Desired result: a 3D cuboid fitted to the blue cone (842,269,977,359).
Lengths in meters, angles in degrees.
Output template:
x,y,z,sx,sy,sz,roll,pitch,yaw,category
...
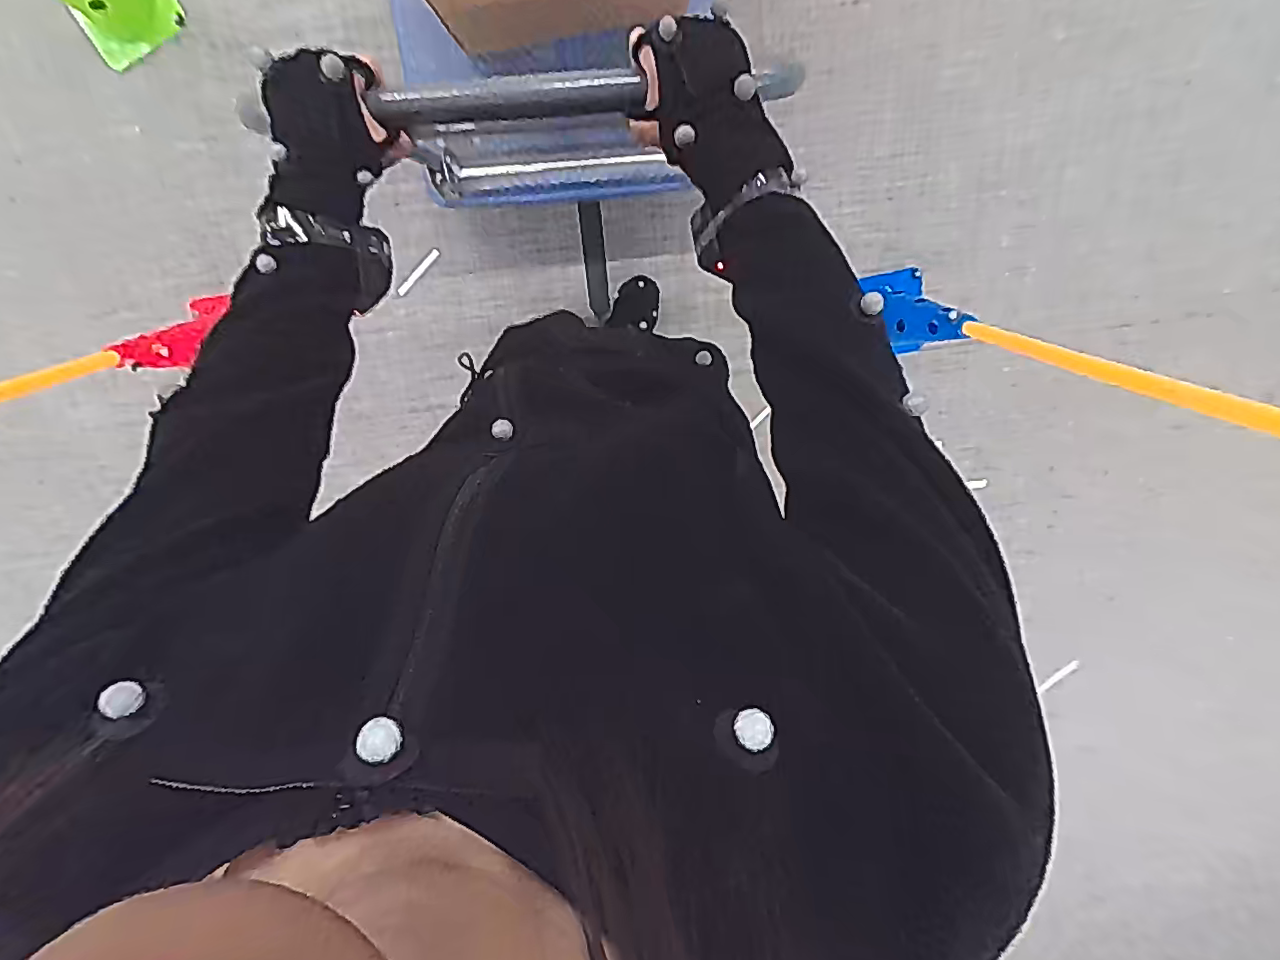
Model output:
x,y,z,sx,sy,sz,roll,pitch,yaw,category
0.598,-0.348,1.166,0.193,0.380,0.192,-10,109,2,blue cone
